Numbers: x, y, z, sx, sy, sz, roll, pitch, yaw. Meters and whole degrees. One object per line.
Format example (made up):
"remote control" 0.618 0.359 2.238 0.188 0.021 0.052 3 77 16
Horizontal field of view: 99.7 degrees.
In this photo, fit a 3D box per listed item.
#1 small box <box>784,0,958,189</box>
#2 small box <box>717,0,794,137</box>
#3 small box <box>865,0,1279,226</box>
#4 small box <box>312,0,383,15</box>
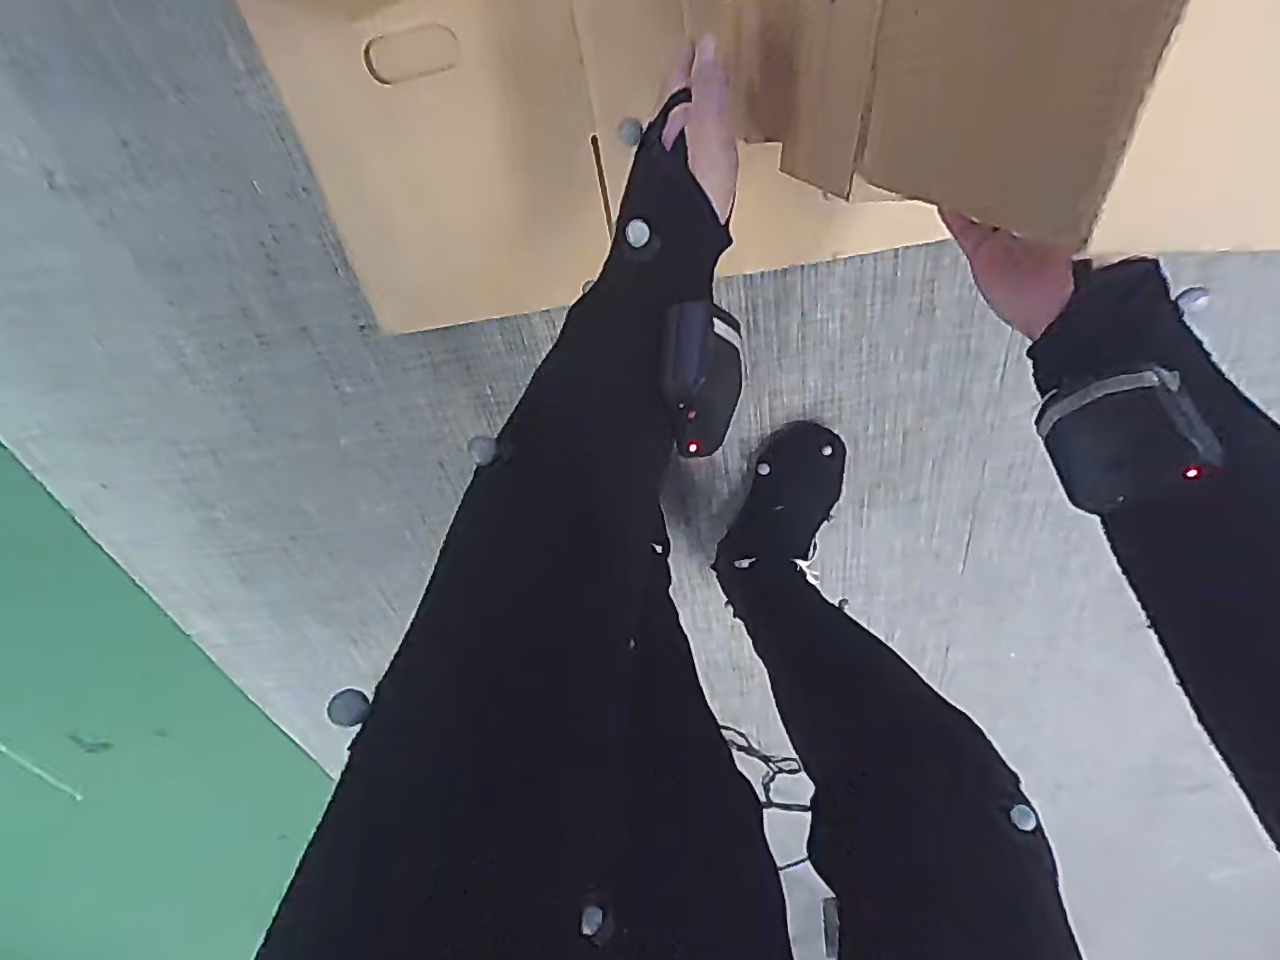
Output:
"small box" 0.178 -0.257 0.276 0.168 0.176 0.179 0 123 1
"small box" 0.148 -0.368 0.400 0.168 0.176 0.179 -4 123 4
"small box" 0.177 -0.172 0.137 0.168 0.176 0.179 0 124 2
"small box" -0.217 -0.452 0.352 0.168 0.176 0.179 -15 123 10
